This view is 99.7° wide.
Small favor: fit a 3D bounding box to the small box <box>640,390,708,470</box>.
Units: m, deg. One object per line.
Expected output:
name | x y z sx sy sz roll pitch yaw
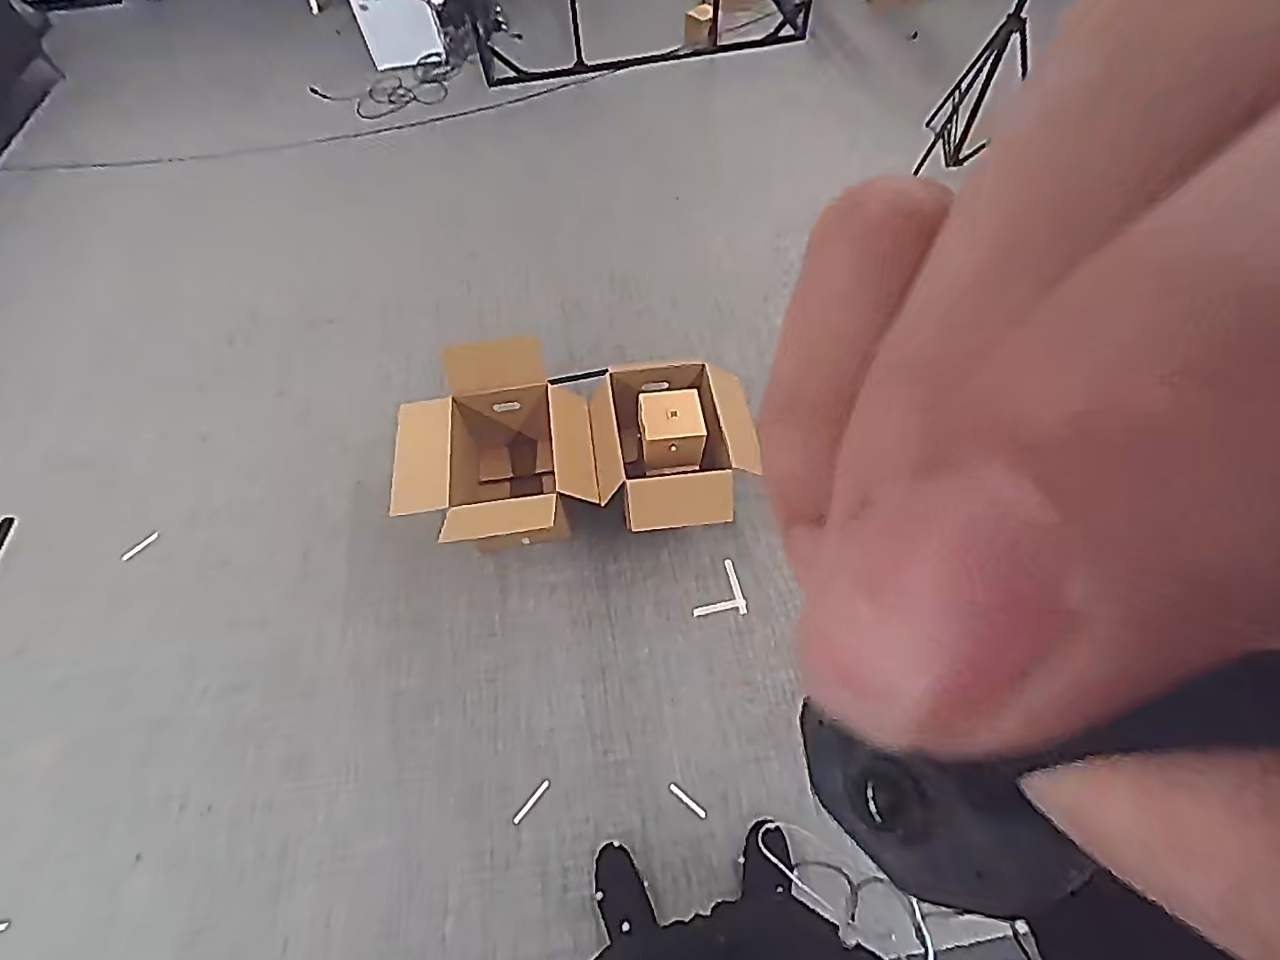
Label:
small box | 0.094 -0.145 1.609 0.179 0.176 0.168 -6 61 -3
